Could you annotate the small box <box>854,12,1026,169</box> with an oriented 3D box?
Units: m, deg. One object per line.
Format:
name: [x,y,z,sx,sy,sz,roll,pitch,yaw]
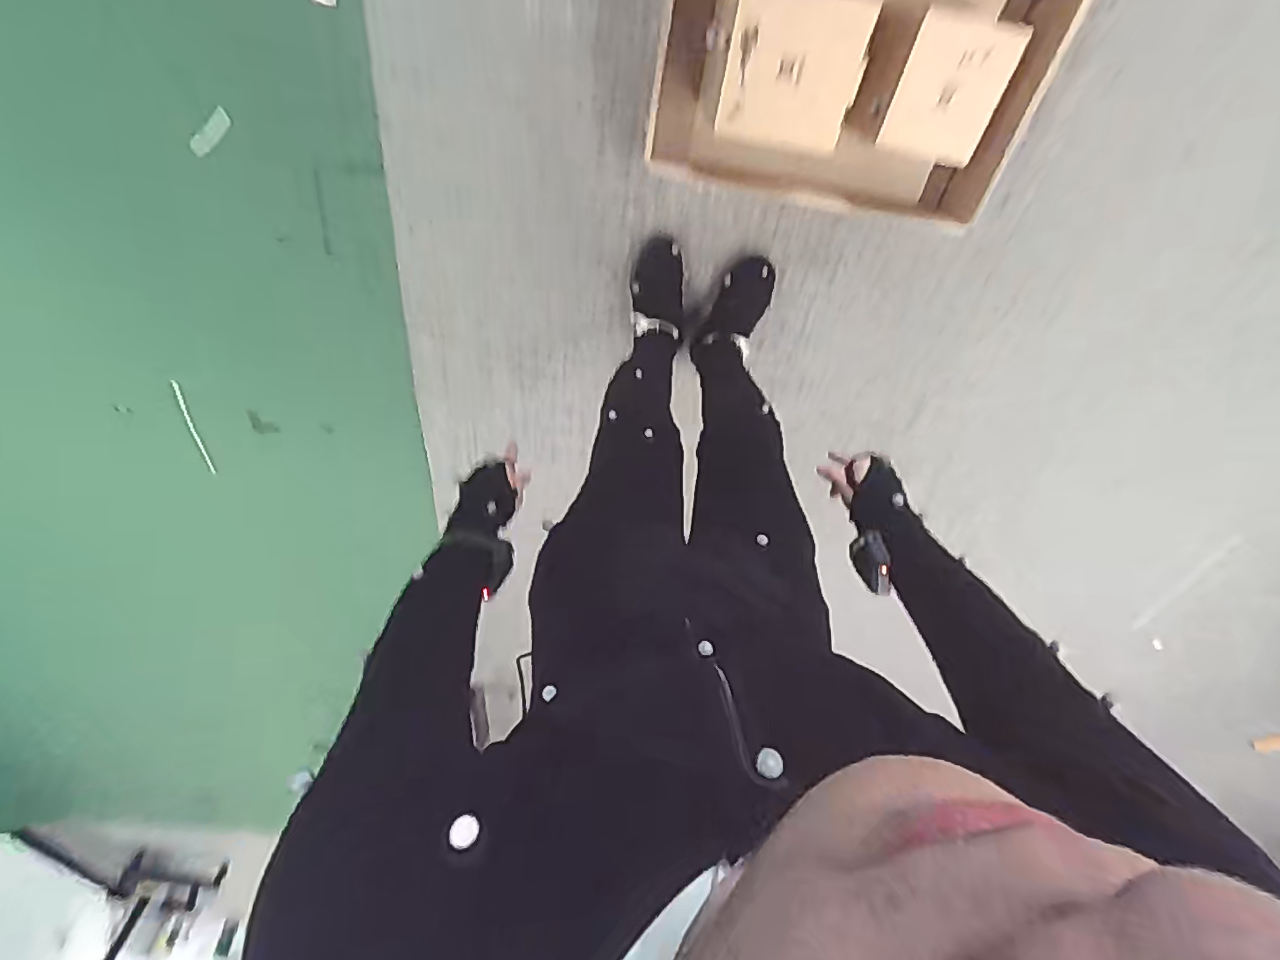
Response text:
small box: [0.482,-0.650,0.907,0.168,0.176,0.179,9,128,-5]

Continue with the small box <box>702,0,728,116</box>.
small box: [0.200,-0.690,0.887,0.168,0.176,0.179,8,127,-5]

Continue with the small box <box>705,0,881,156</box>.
small box: [0.200,-0.579,0.766,0.179,0.176,0.168,7,127,-5]
